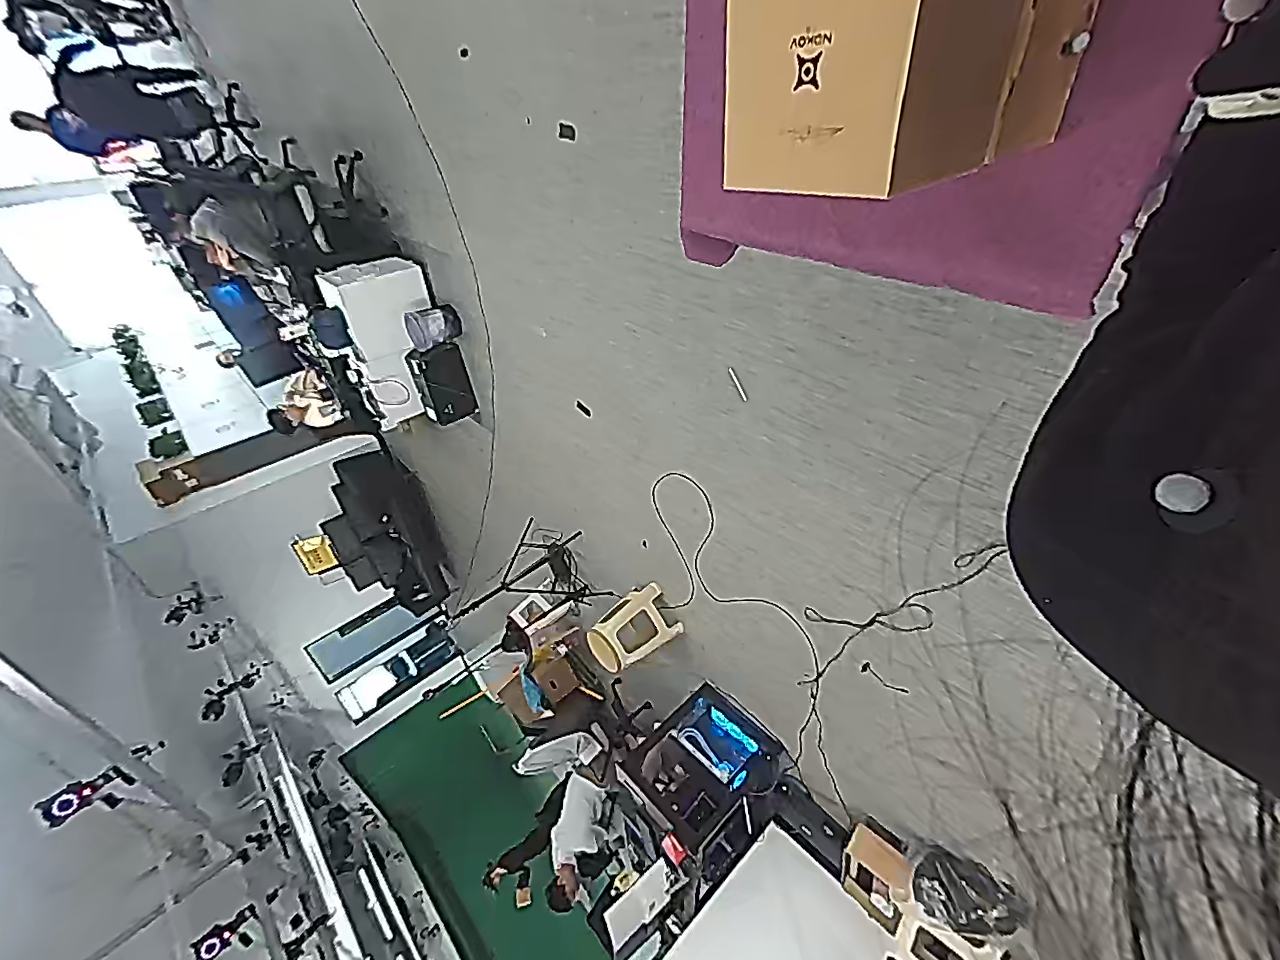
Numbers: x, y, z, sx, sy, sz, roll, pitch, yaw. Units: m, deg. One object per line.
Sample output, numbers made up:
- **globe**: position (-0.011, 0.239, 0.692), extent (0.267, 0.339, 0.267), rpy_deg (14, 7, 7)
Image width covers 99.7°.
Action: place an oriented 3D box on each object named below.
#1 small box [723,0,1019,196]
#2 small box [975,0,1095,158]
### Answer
- **small box**: position (0.188, -0.353, 0.452), extent (0.168, 0.176, 0.179), rpy_deg (31, 140, 40)
- **small box**: position (0.308, -0.425, 0.534), extent (0.179, 0.176, 0.168), rpy_deg (31, 139, 38)
